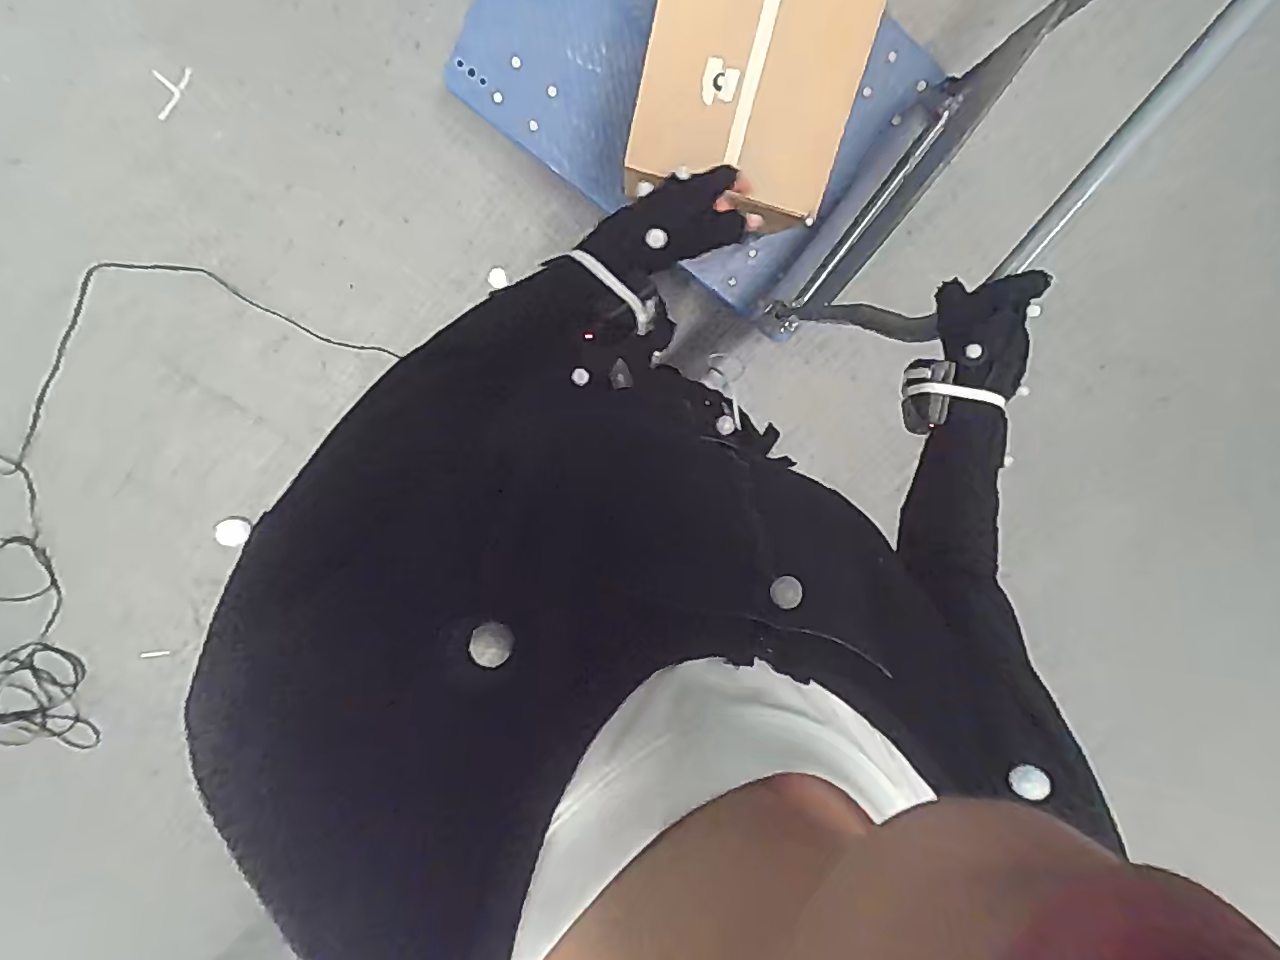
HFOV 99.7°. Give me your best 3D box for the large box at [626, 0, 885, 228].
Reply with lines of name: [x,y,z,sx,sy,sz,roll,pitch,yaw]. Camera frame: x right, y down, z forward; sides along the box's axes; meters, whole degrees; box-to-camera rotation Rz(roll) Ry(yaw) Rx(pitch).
large box: [0.168,-0.684,0.908,0.320,0.320,0.408,13,111,-6]
